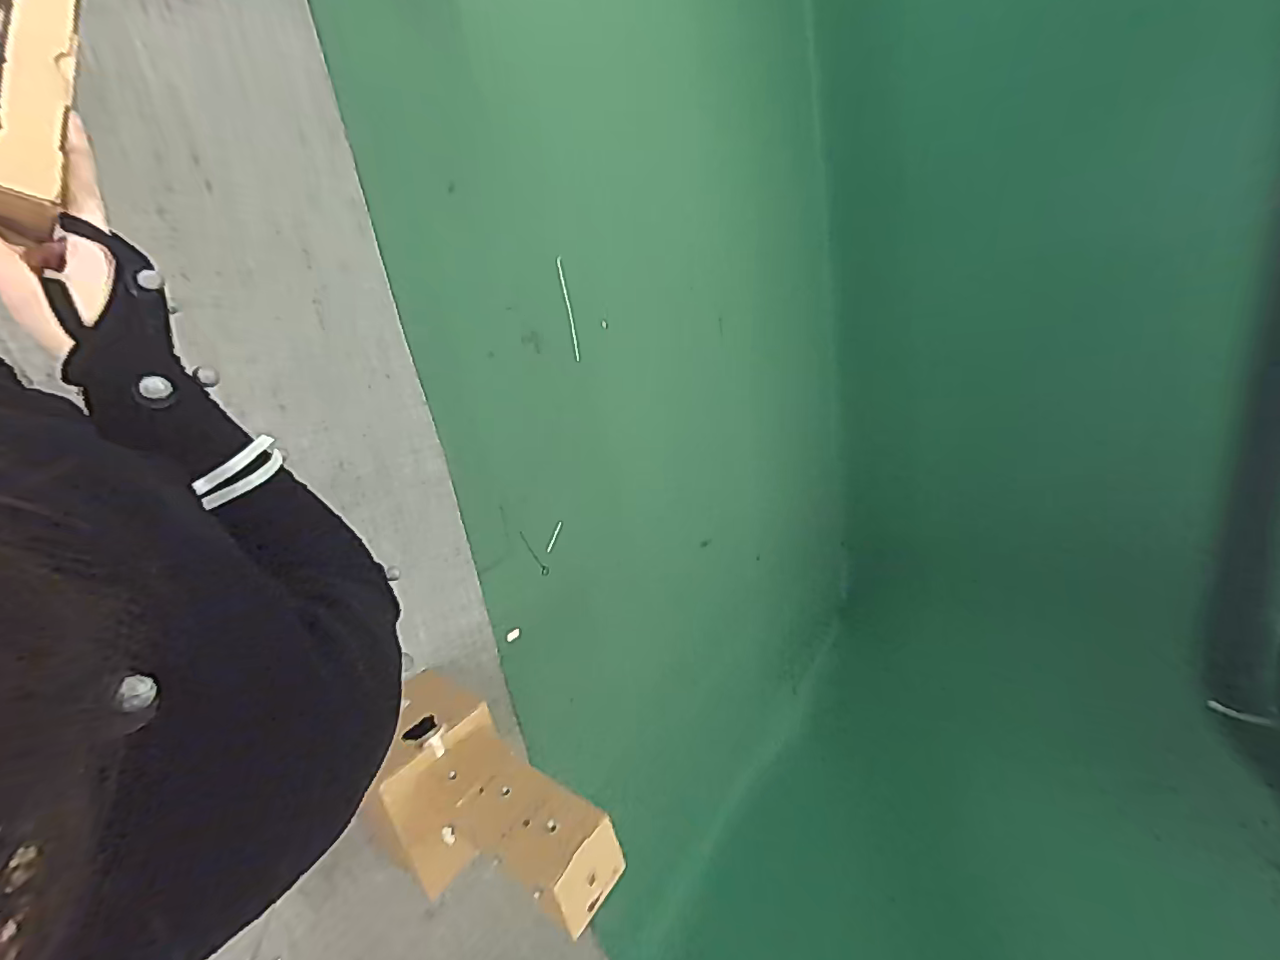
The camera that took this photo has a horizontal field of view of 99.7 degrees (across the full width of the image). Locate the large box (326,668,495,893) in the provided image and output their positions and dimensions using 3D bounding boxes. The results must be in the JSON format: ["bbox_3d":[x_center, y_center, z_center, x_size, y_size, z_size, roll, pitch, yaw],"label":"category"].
[{"bbox_3d":[-0.609,0.823,1.531,0.320,0.320,0.408,-30,118,-44],"label":"large box"}]

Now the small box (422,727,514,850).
[{"bbox_3d":[-0.424,0.769,1.366,0.179,0.176,0.168,-32,119,-45],"label":"small box"}]

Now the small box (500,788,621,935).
[{"bbox_3d":[-0.172,0.799,1.158,0.168,0.176,0.179,-34,119,-43],"label":"small box"}]

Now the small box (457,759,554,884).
[{"bbox_3d":[-0.297,0.787,1.264,0.168,0.176,0.179,-36,122,-42],"label":"small box"}]
